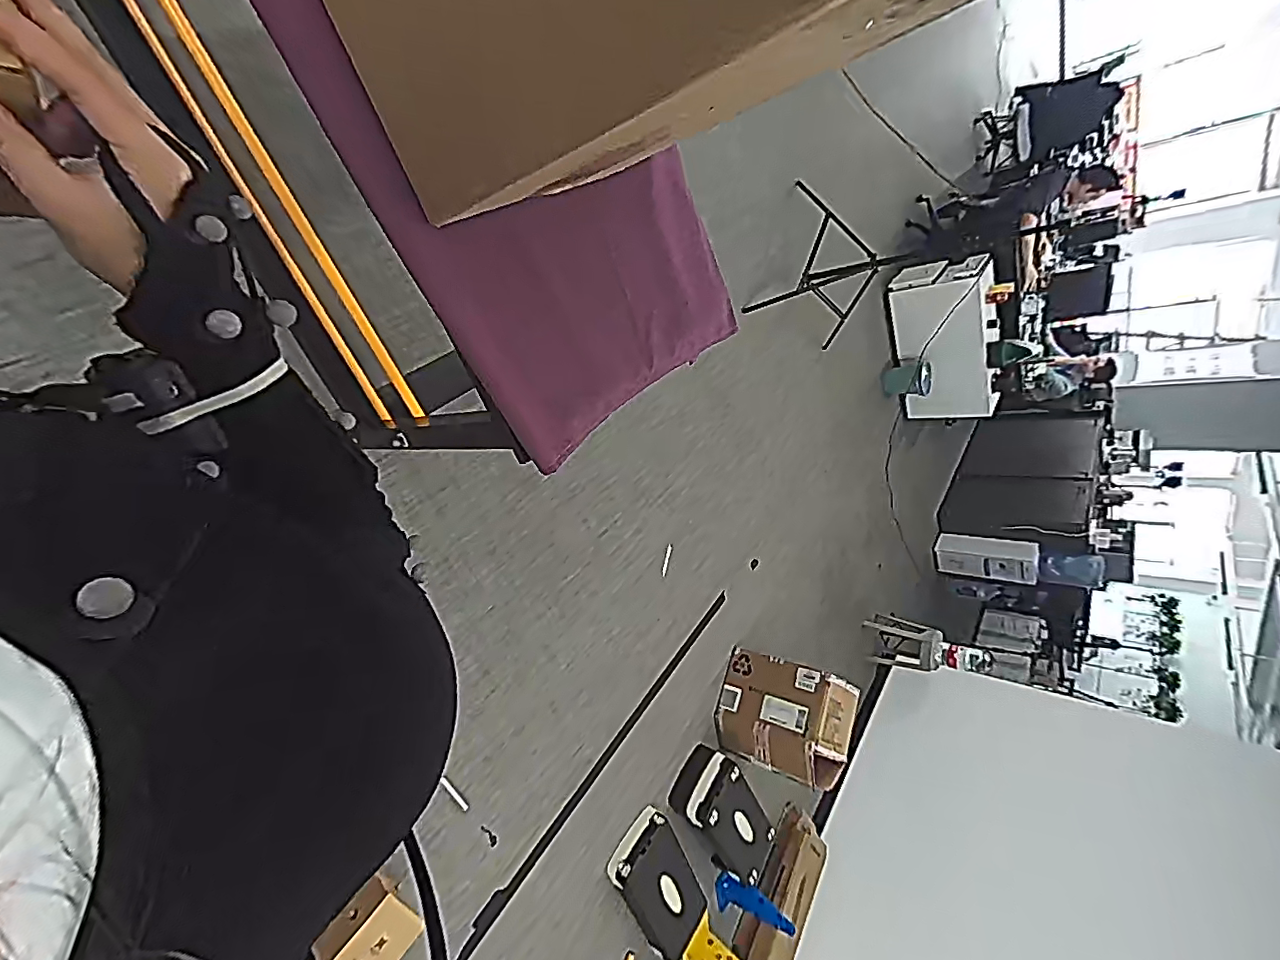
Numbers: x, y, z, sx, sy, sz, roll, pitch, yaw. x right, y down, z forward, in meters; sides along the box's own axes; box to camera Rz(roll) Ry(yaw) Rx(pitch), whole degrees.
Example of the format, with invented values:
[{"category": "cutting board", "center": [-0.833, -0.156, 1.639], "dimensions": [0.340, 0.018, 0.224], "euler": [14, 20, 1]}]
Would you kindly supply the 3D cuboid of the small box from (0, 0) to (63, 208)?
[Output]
[{"category": "small box", "center": [-0.388, -0.233, 0.225], "dimensions": [0.179, 0.176, 0.168], "euler": [-17, 101, -40]}]
